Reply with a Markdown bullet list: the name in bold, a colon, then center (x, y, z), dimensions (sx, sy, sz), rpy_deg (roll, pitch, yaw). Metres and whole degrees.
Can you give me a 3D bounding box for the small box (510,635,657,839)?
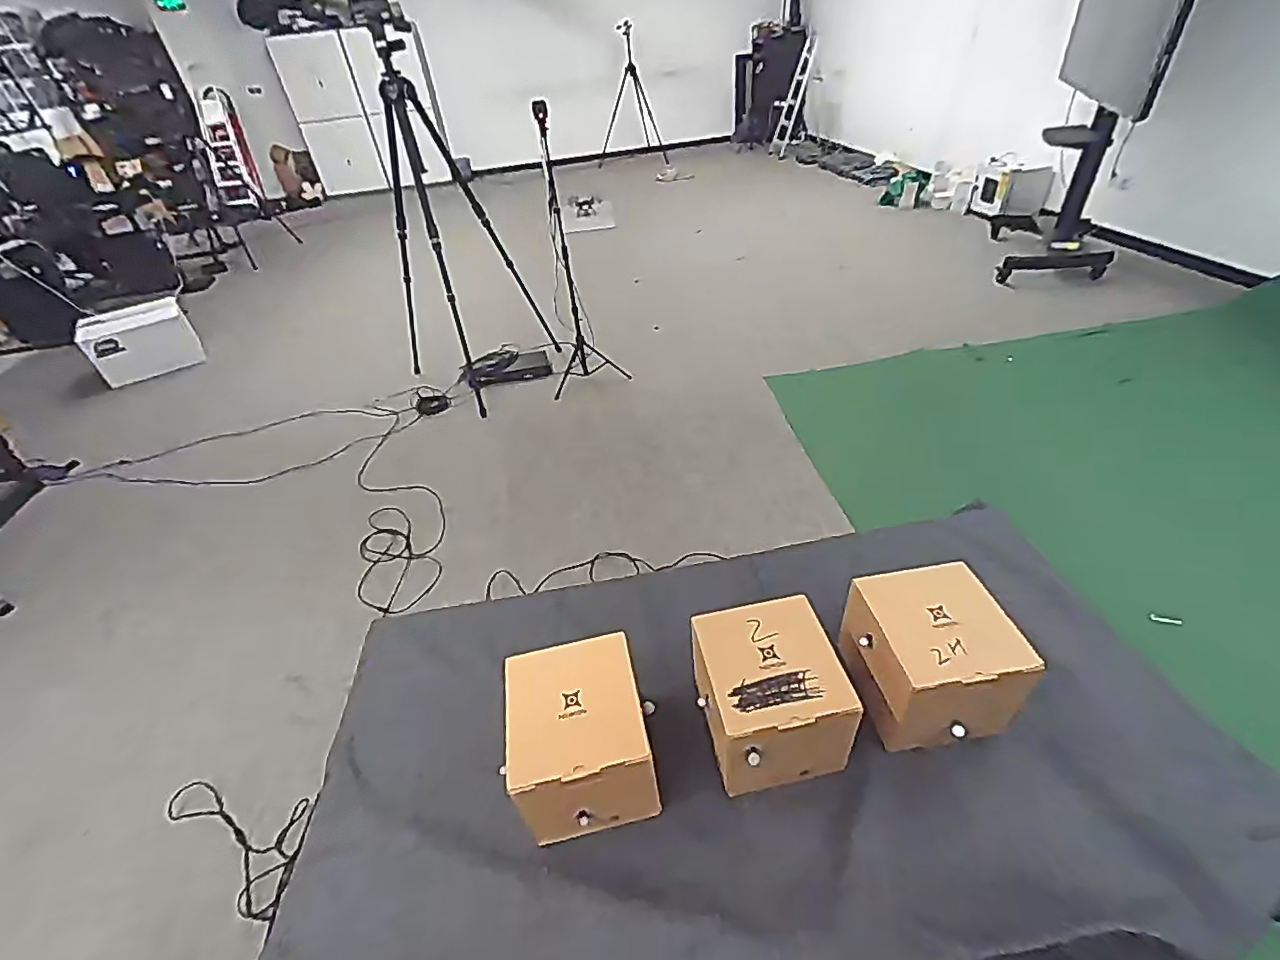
- **small box**: center (-0.076, 0.344, 0.729), dimensions (0.168, 0.176, 0.179), rpy_deg (-11, 40, -5)
